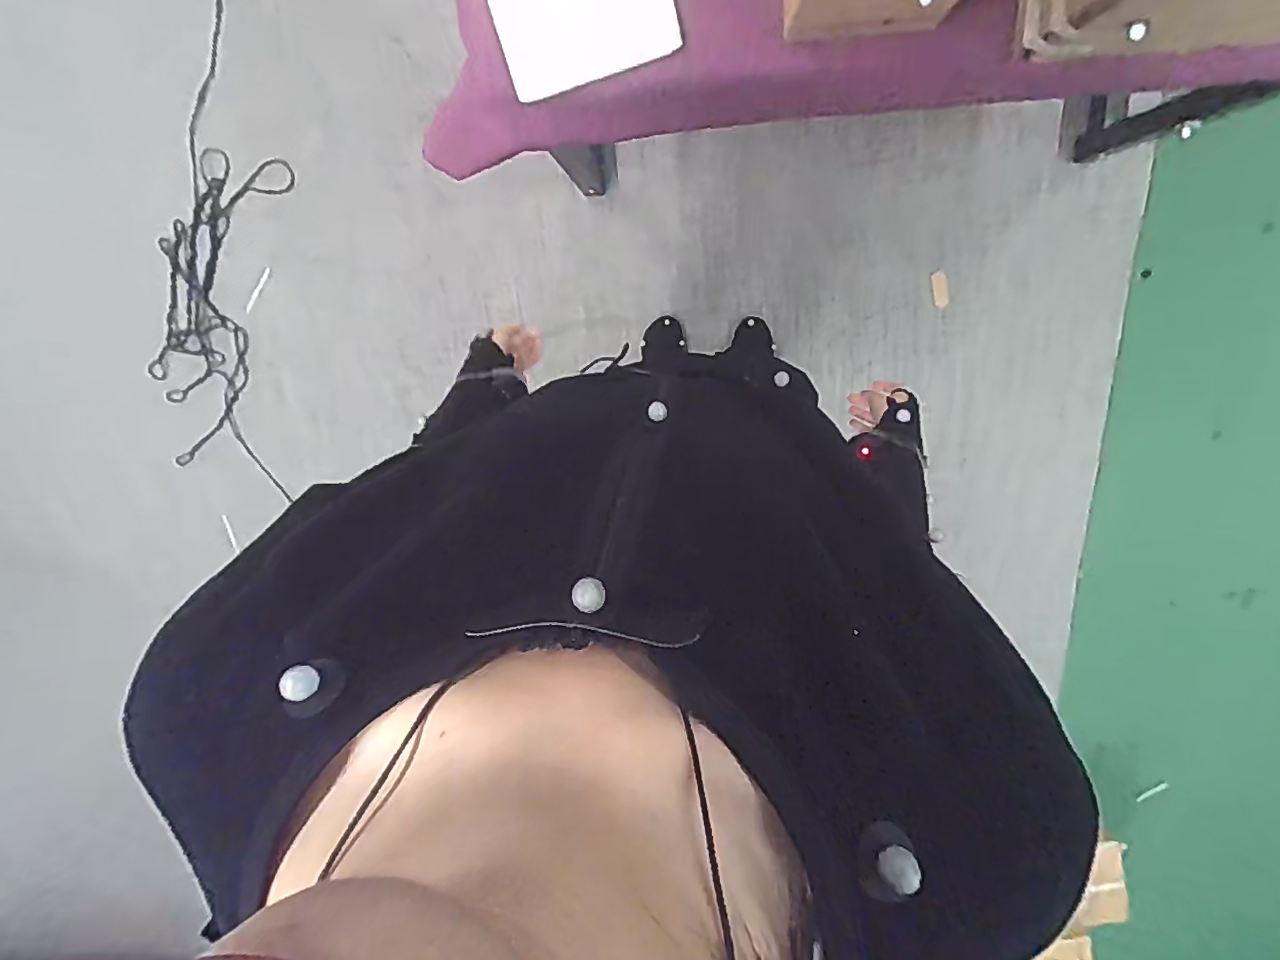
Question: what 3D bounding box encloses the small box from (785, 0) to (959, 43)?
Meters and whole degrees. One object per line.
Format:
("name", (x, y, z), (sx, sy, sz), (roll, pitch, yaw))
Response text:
("small box", (0.235, -0.544, 0.504), (0.168, 0.176, 0.179), (-1, 106, 3))
